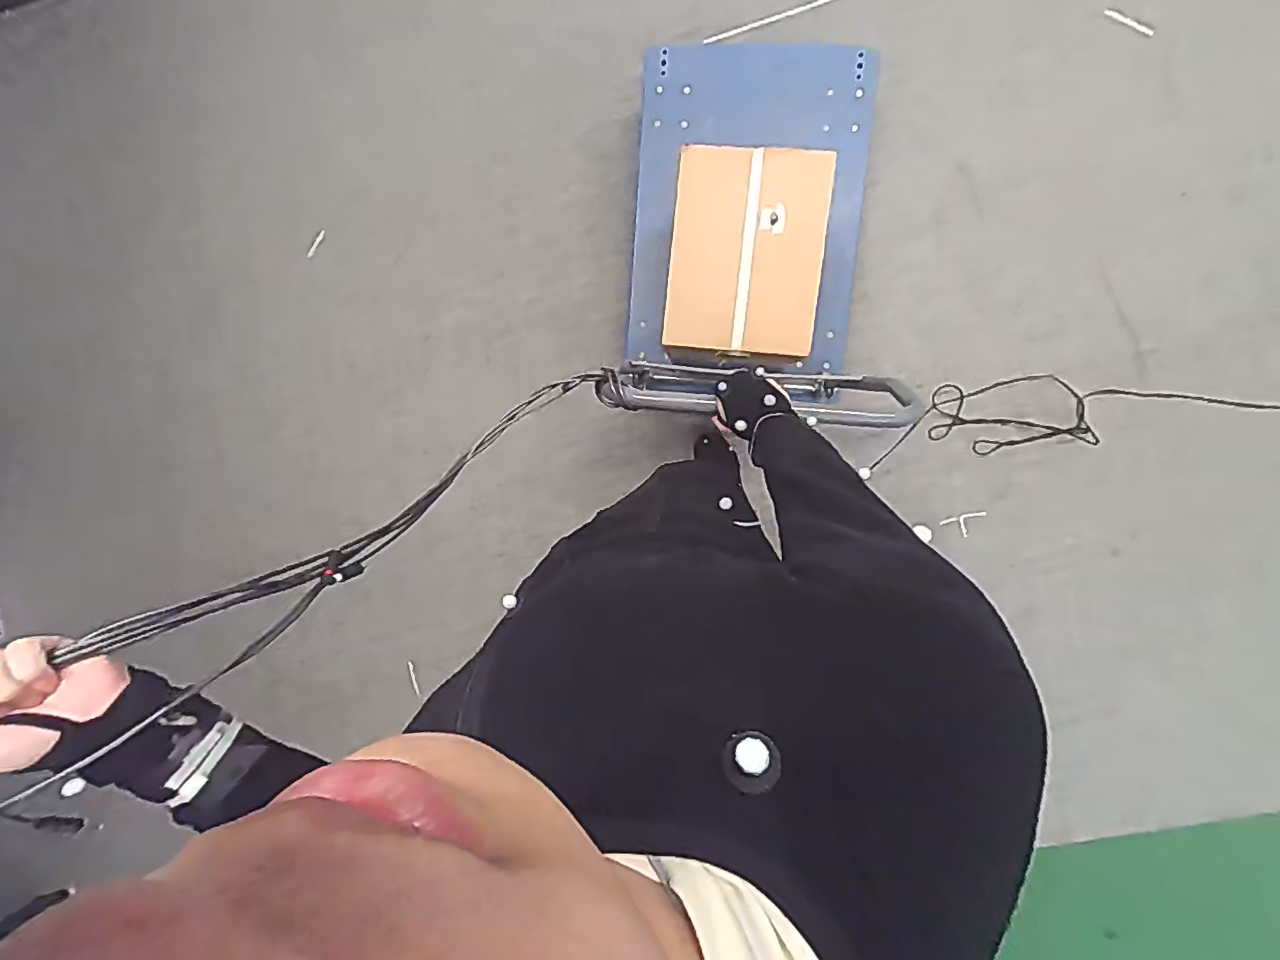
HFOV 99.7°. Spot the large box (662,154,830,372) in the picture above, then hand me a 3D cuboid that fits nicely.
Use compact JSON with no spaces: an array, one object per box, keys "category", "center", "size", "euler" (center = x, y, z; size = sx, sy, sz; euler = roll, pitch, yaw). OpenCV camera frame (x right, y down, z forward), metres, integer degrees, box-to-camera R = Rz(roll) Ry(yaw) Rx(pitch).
[{"category":"large box","center":[0.232,-0.478,1.276],"size":[0.320,0.320,0.408],"euler":[7,97,4]}]
